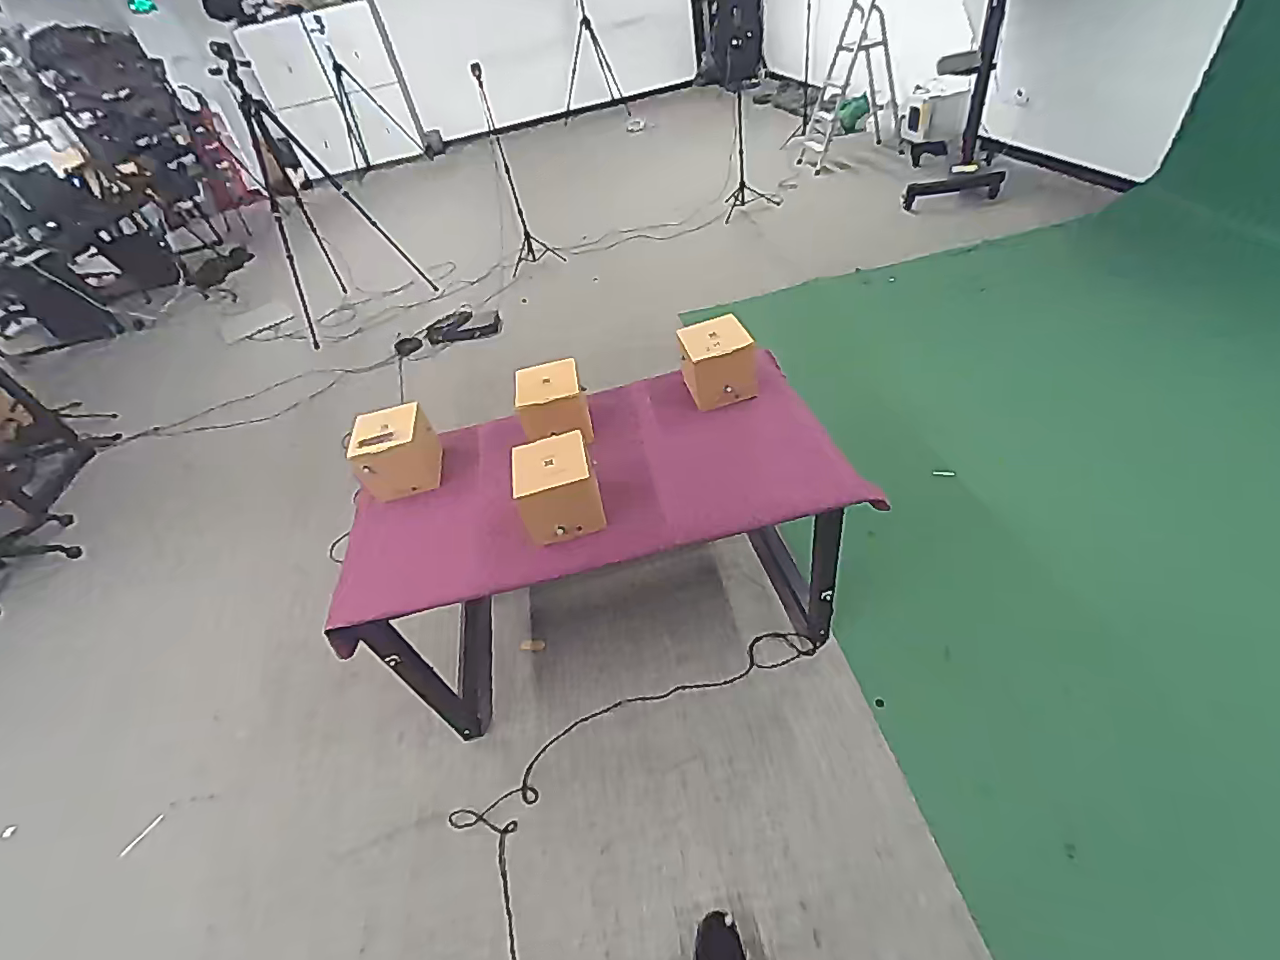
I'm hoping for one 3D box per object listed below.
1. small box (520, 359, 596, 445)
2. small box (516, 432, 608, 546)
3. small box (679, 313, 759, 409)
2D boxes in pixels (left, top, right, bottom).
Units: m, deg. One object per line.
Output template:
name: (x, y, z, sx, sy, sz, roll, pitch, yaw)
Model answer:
small box: (-0.223, -0.199, 1.477, 0.168, 0.176, 0.179, -13, 46, 1)
small box: (-0.178, 0.021, 1.240, 0.168, 0.176, 0.179, -16, 43, 1)
small box: (0.217, -0.323, 1.475, 0.168, 0.176, 0.179, -18, 44, 1)
